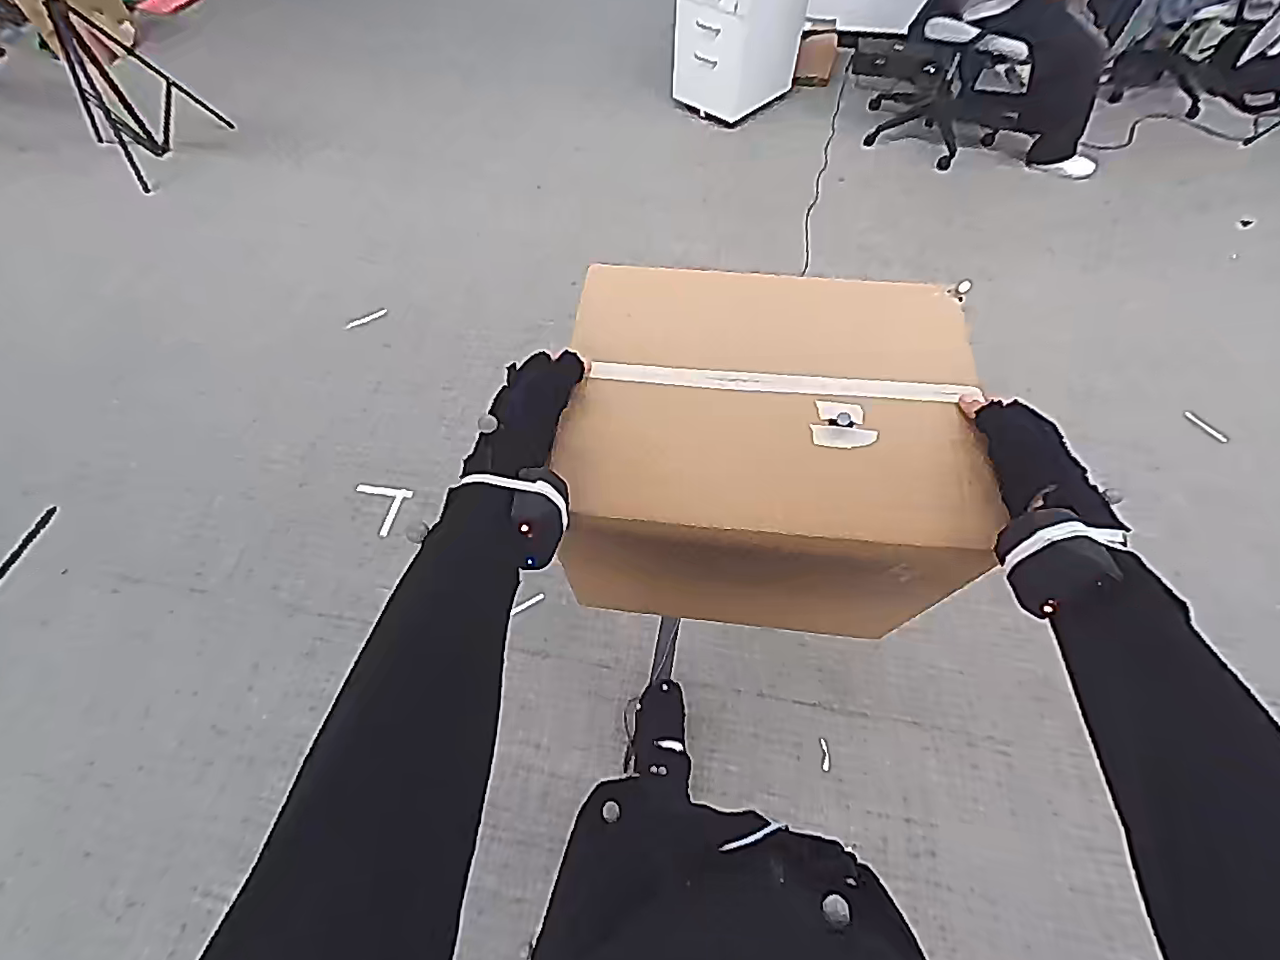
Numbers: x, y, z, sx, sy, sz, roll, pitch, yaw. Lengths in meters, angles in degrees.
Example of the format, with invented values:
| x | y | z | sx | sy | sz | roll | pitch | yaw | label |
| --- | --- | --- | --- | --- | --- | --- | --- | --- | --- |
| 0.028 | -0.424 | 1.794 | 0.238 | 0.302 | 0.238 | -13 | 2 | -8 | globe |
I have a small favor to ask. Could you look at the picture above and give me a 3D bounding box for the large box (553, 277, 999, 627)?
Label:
| x | y | z | sx | sy | sz | roll | pitch | yaw | label |
| --- | --- | --- | --- | --- | --- | --- | --- | --- | --- |
| 0.133 | -0.020 | 0.680 | 0.408 | 0.320 | 0.320 | 5 | 63 | 4 | large box |
